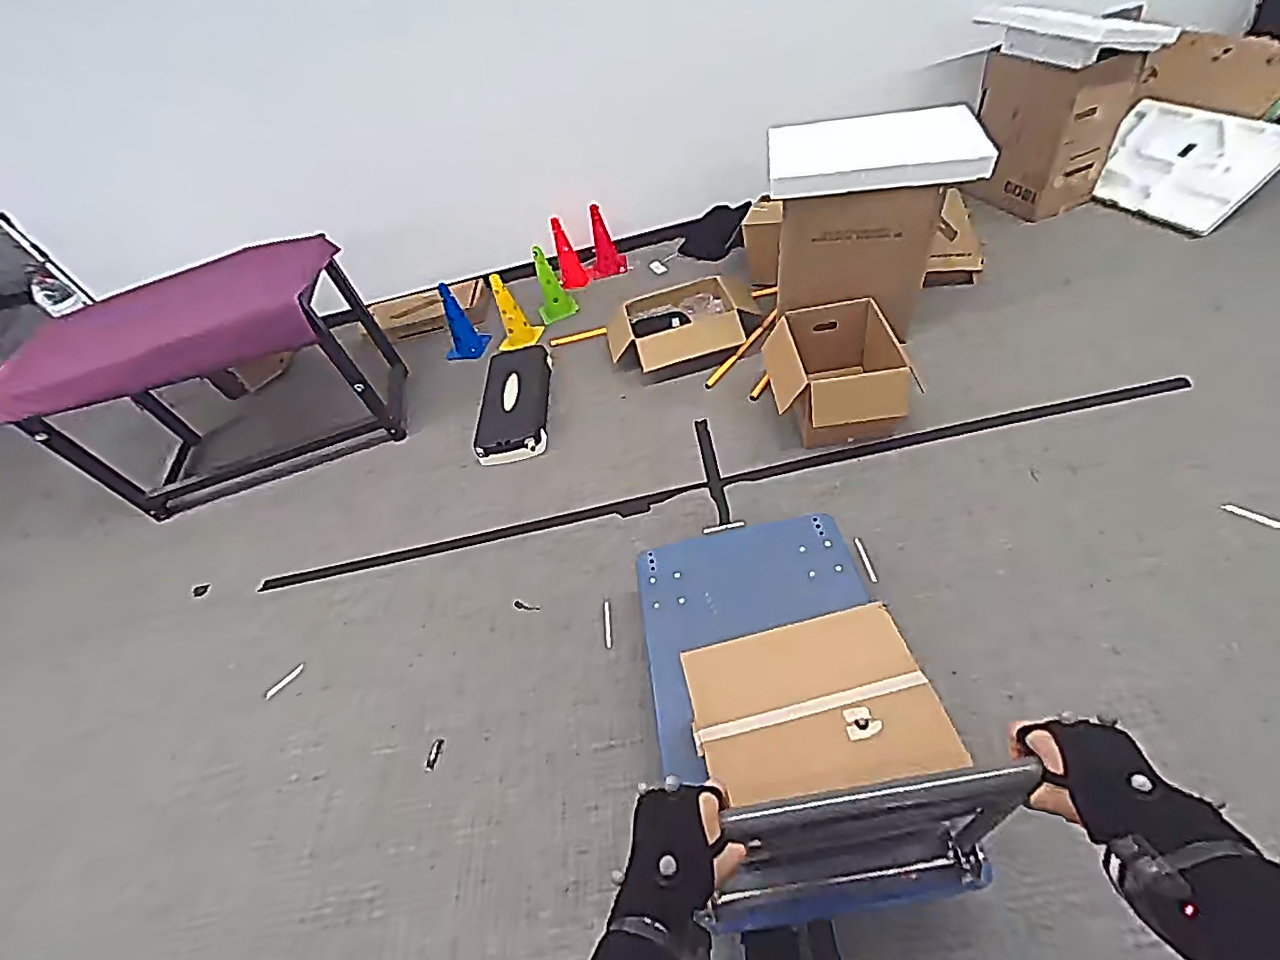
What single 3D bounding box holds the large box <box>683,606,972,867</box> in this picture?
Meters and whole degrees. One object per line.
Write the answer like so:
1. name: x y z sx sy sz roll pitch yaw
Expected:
1. large box: 0.327 0.501 1.051 0.408 0.320 0.320 -15 48 0
